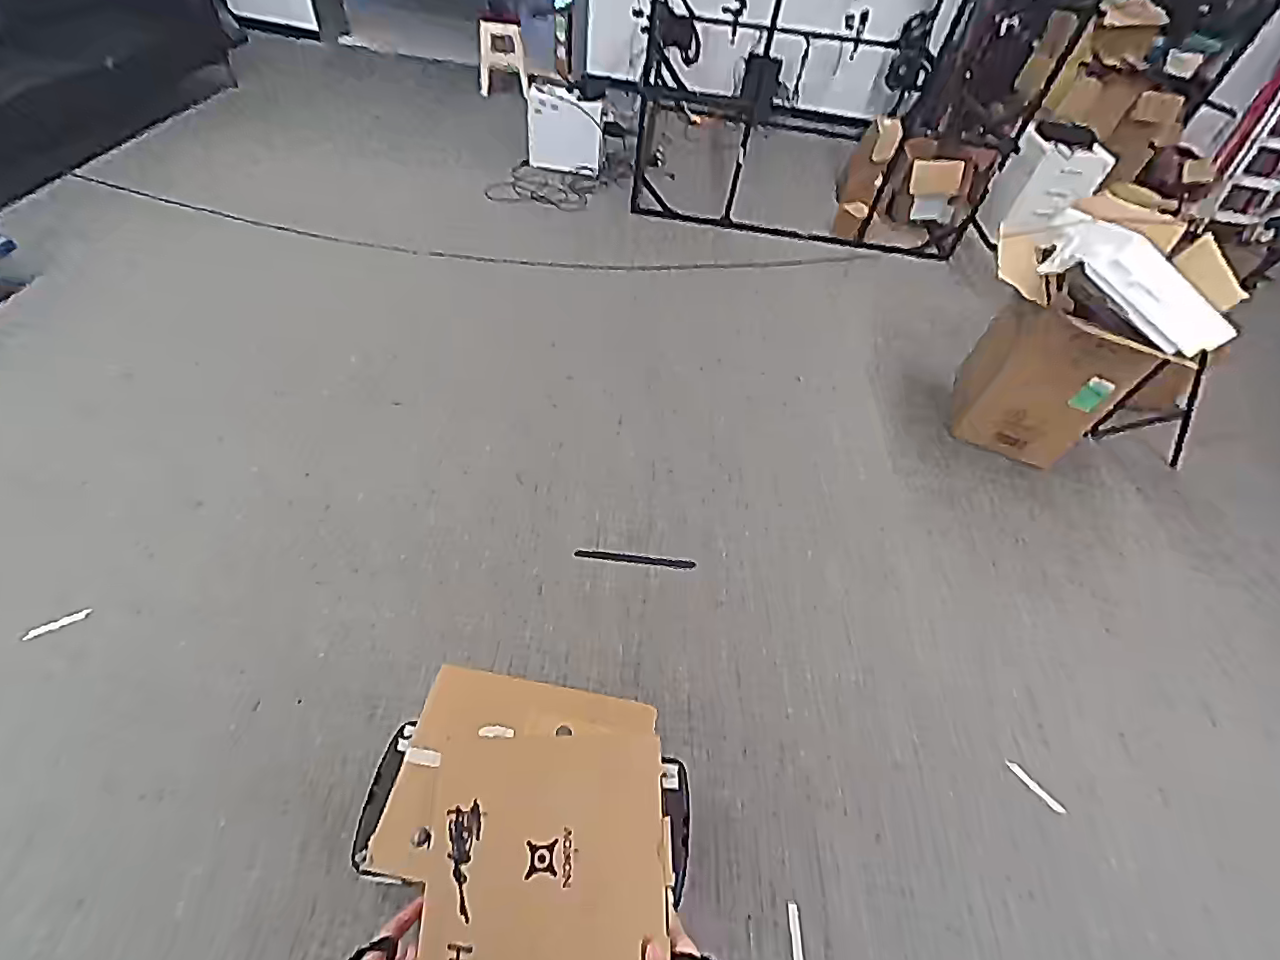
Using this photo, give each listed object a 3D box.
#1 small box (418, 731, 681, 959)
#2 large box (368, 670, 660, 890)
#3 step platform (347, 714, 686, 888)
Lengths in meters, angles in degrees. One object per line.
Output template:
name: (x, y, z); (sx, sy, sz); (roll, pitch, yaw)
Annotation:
small box: (-0.080, 0.307, 0.449); (0.179, 0.176, 0.168); (7, 58, -15)
large box: (-0.191, 0.584, 0.986); (0.408, 0.320, 0.320); (10, 49, 2)
step platform: (-0.244, 0.735, 1.165); (0.684, 0.204, 0.286); (12, 50, 3)
